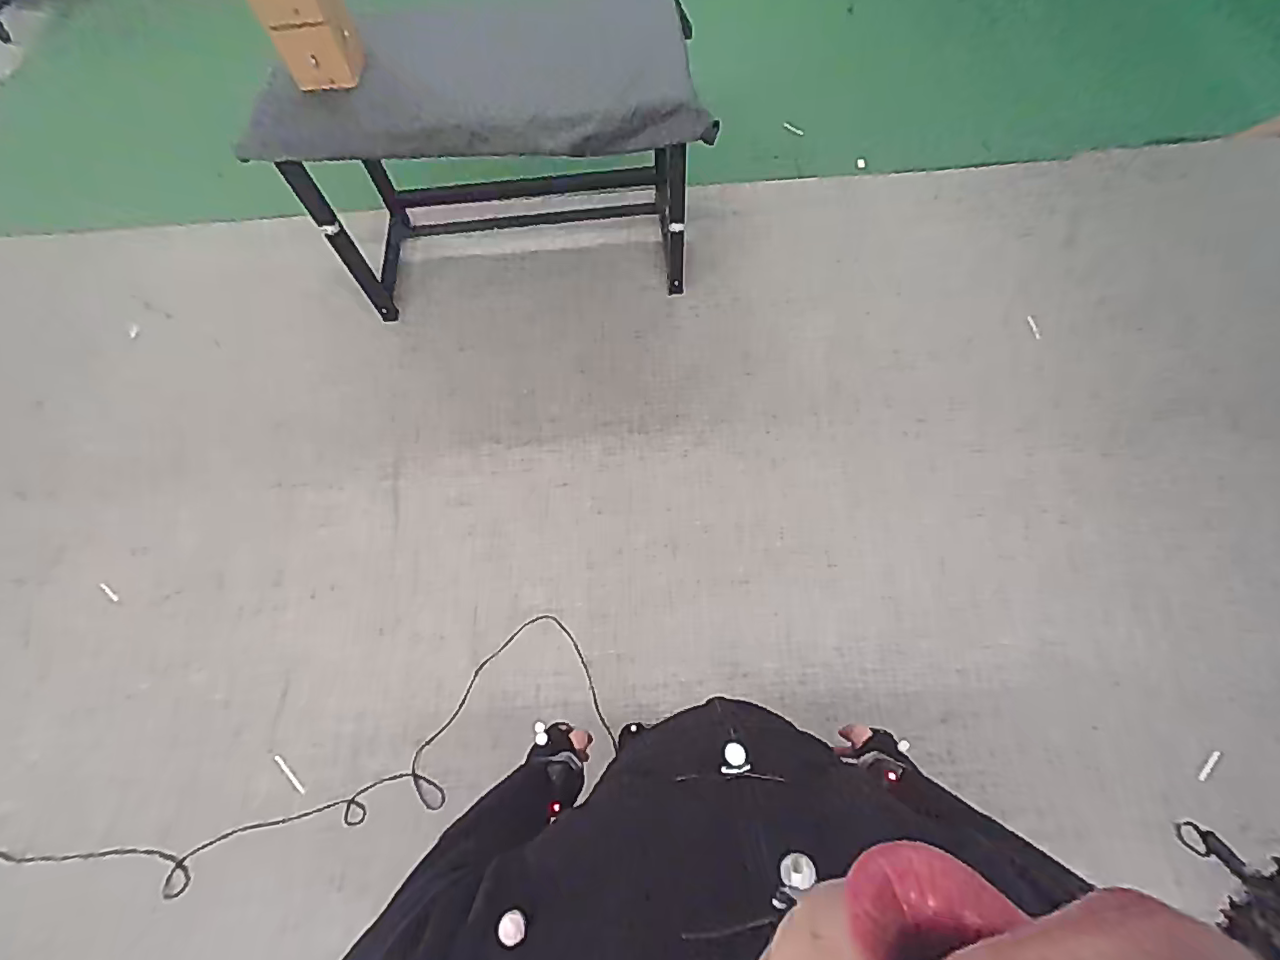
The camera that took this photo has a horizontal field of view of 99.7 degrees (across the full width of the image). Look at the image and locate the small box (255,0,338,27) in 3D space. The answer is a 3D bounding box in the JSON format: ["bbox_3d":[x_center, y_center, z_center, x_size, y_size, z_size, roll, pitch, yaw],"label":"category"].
[{"bbox_3d":[-0.893,-1.285,1.368,0.168,0.176,0.179,-4,64,-1],"label":"small box"}]

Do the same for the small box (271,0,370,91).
[{"bbox_3d":[-0.888,-1.229,1.521,0.168,0.176,0.179,-2,65,1],"label":"small box"}]
